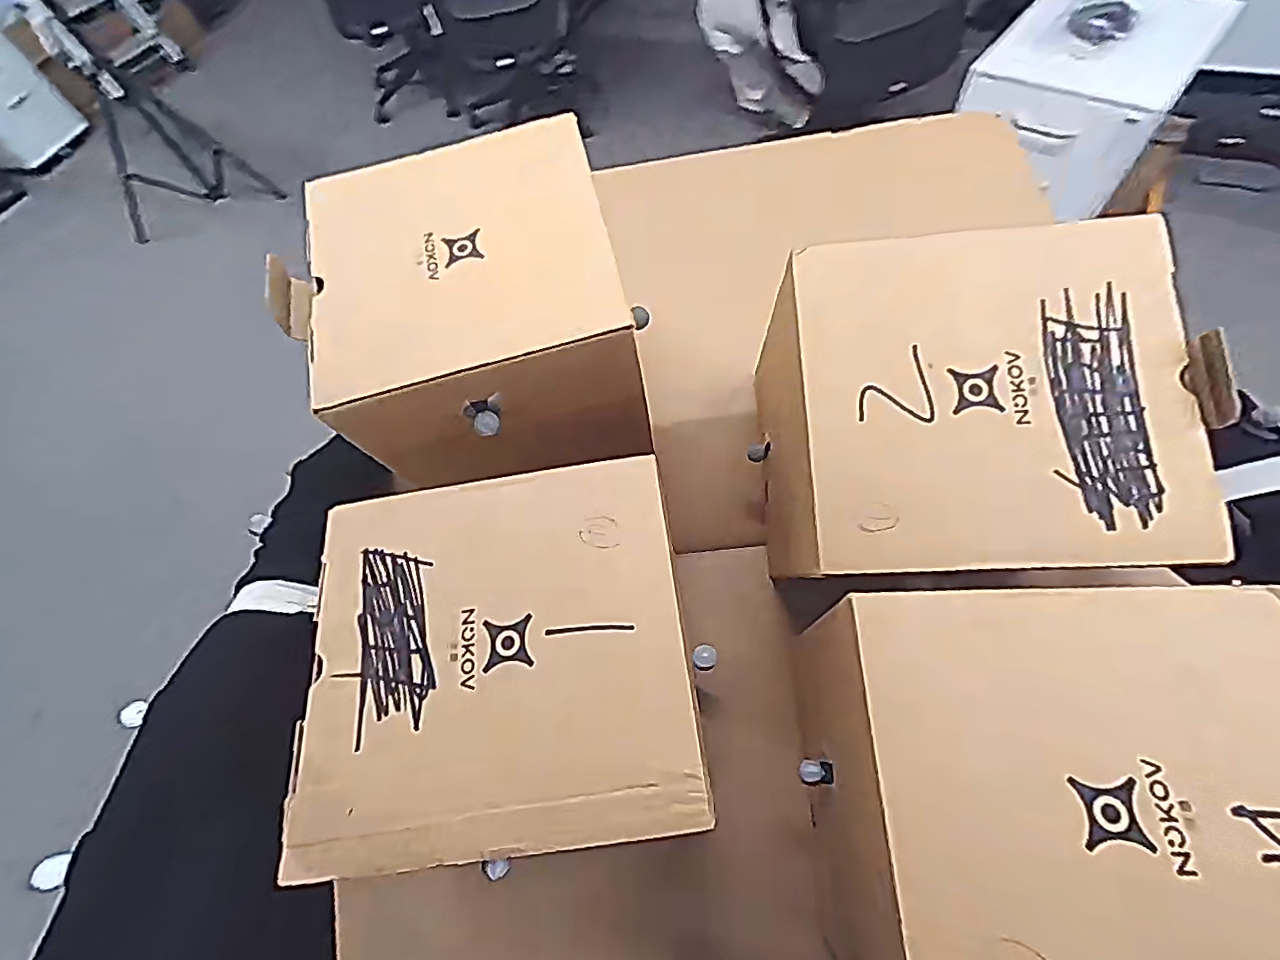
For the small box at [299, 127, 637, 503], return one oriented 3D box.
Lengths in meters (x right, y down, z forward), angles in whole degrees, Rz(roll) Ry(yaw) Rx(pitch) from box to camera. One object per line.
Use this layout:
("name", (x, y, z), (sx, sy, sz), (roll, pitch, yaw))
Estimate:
("small box", (-0.105, -0.100, 0.389), (0.179, 0.176, 0.168), (-16, 69, 1))
